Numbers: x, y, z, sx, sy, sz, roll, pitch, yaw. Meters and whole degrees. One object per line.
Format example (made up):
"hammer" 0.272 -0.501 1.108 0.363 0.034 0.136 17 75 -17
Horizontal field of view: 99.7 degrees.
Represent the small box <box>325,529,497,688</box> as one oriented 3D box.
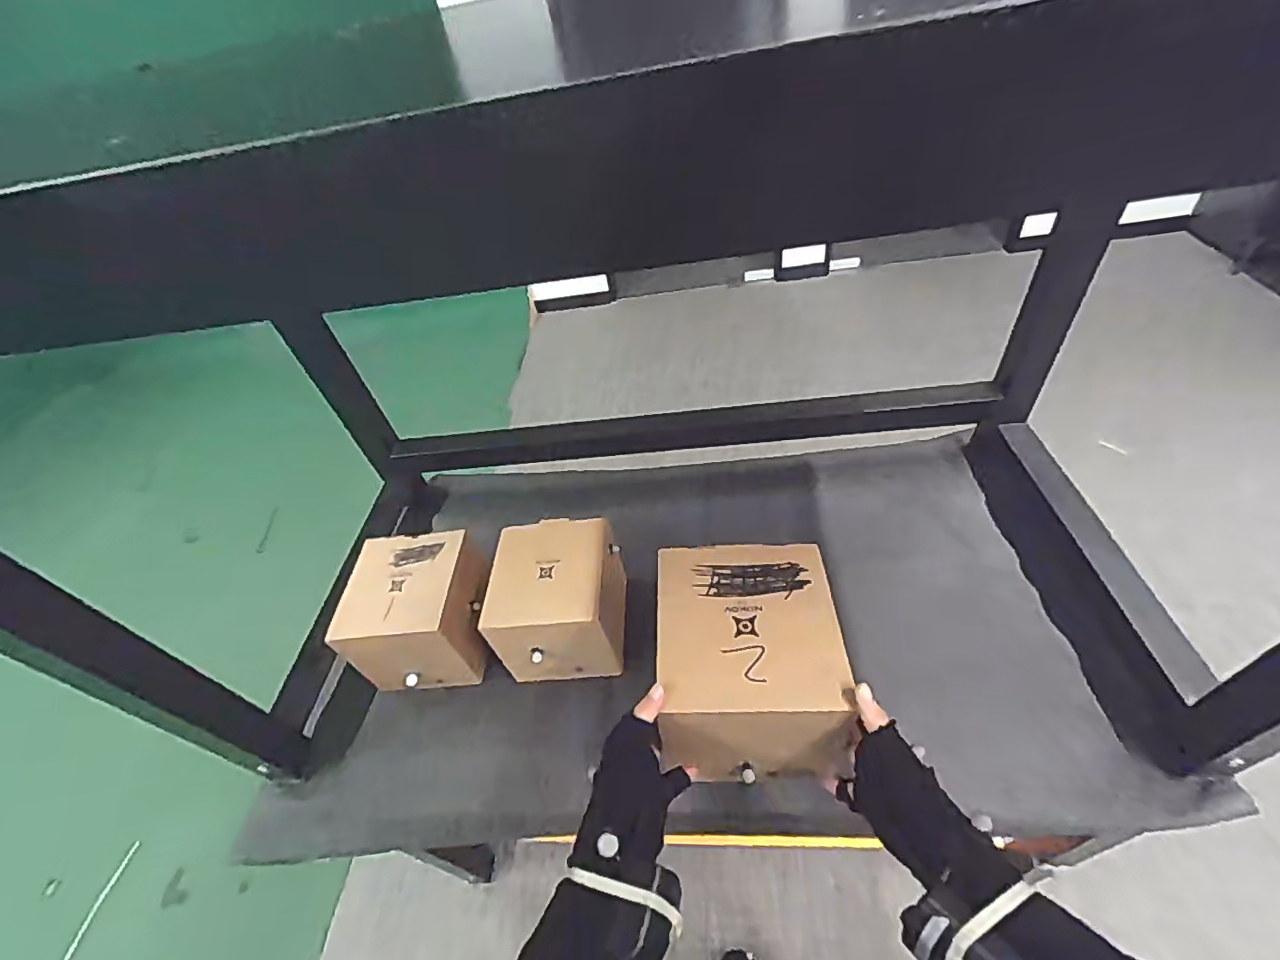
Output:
"small box" -0.336 0.201 0.839 0.168 0.176 0.179 -7 45 7
